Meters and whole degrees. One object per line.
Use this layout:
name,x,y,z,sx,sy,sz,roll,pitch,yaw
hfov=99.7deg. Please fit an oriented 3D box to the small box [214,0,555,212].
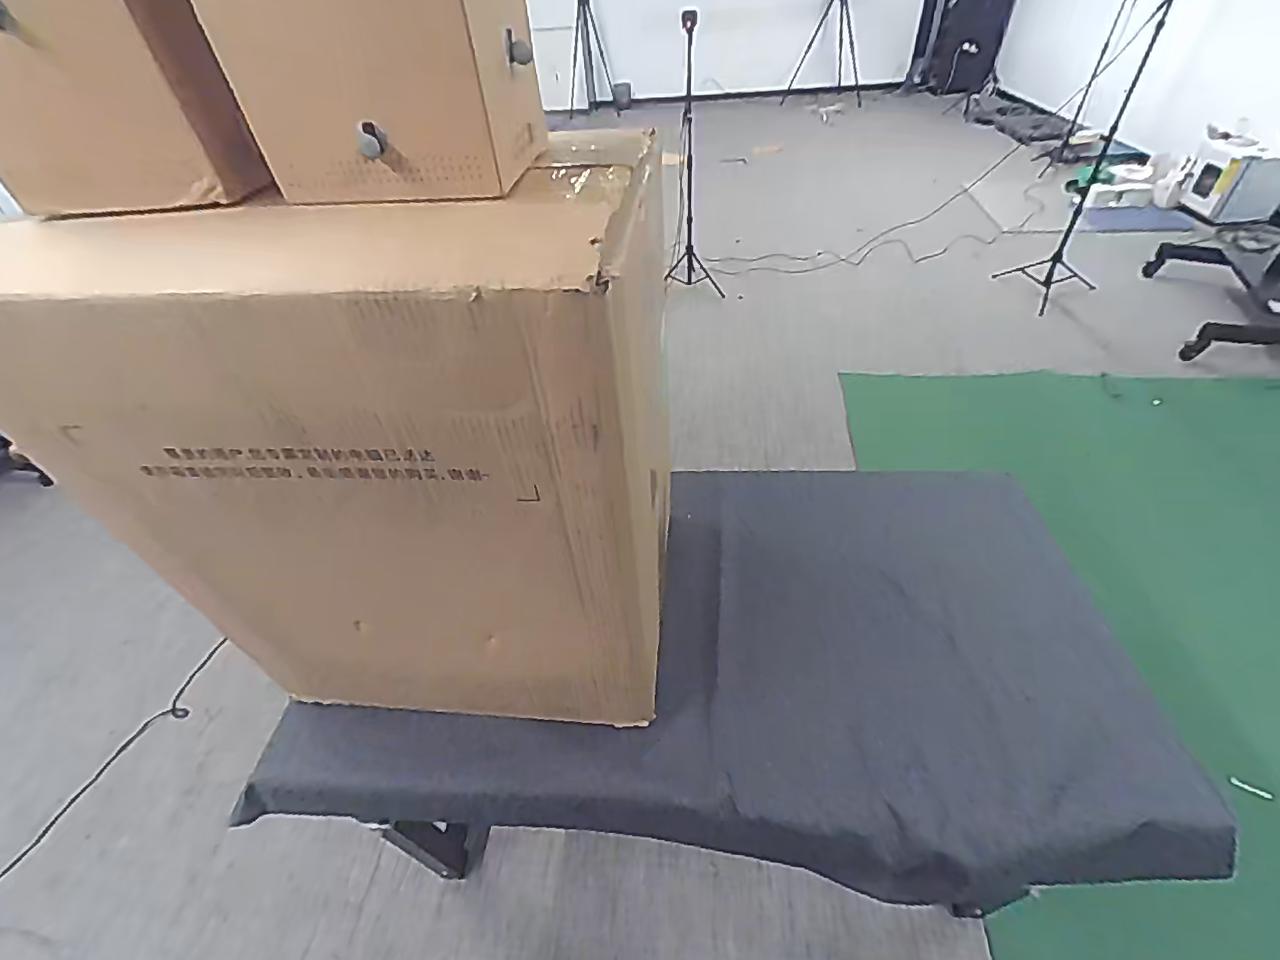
small box,-0.173,-0.323,0.418,0.179,0.176,0.168,0,43,6
